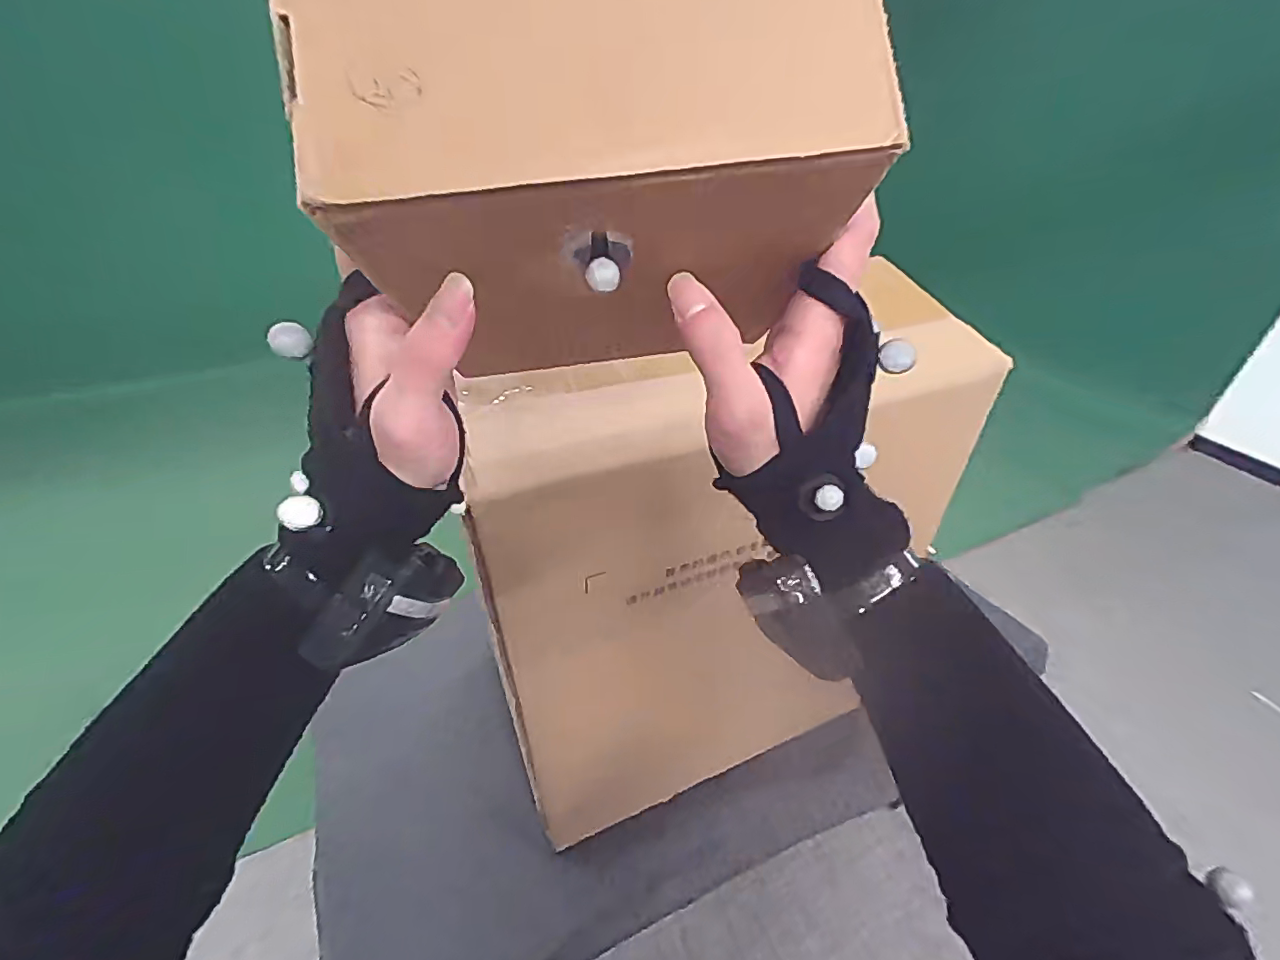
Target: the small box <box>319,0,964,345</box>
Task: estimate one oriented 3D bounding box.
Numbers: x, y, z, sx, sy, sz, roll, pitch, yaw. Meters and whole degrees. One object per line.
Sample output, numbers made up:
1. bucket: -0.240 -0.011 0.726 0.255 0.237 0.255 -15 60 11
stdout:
1. small box: -0.010 -0.168 0.232 0.179 0.168 0.176 -8 -5 -5
